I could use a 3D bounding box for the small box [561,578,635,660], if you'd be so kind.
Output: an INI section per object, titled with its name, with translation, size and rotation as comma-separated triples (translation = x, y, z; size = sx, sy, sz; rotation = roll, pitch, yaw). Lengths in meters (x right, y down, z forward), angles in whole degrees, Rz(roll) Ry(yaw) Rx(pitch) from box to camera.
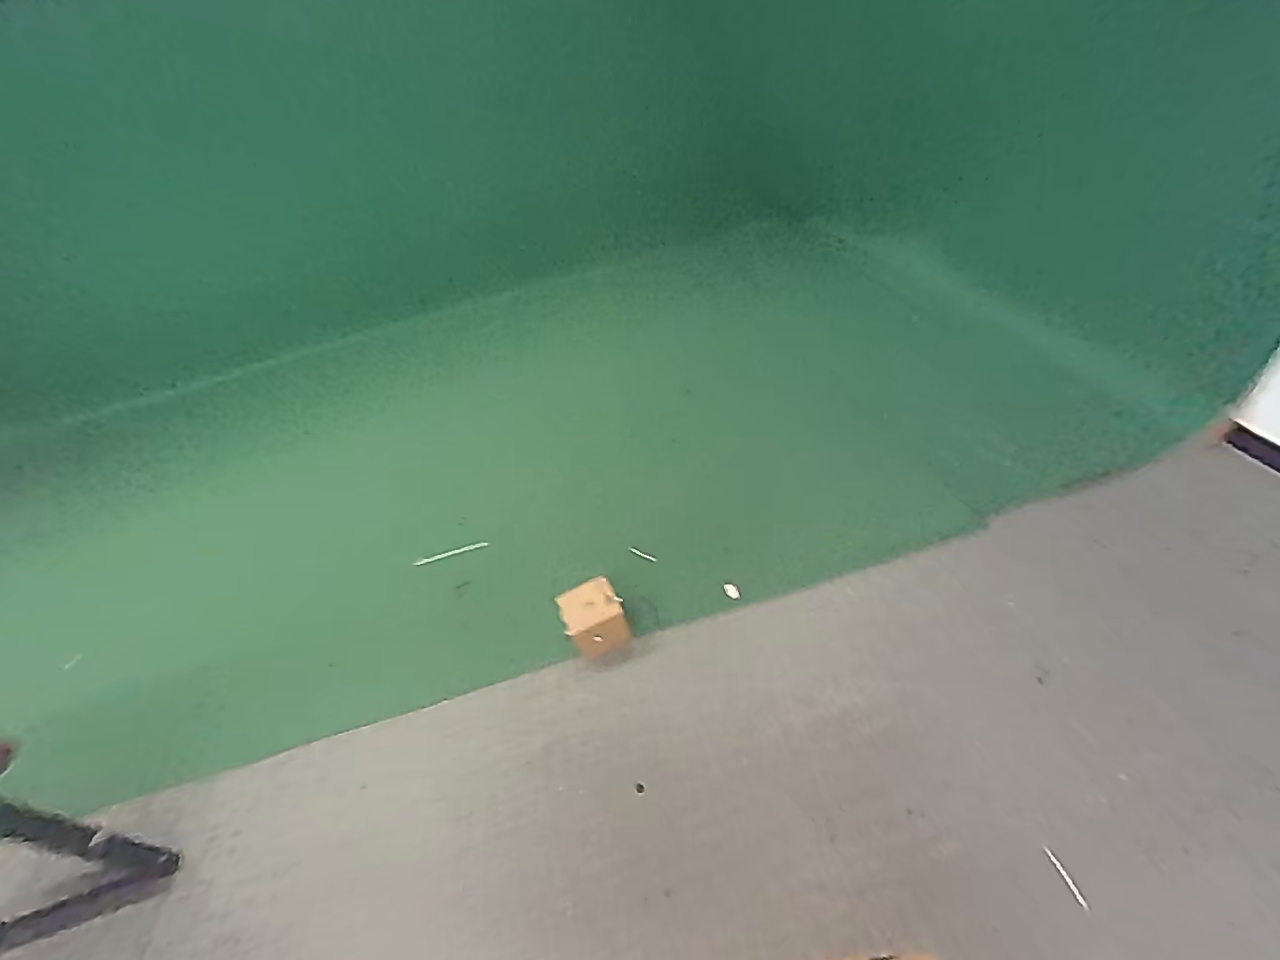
[small box]
translation = -0.137, 0.465, 1.794
size = 0.179, 0.176, 0.168
rotation = -24, 43, -10
